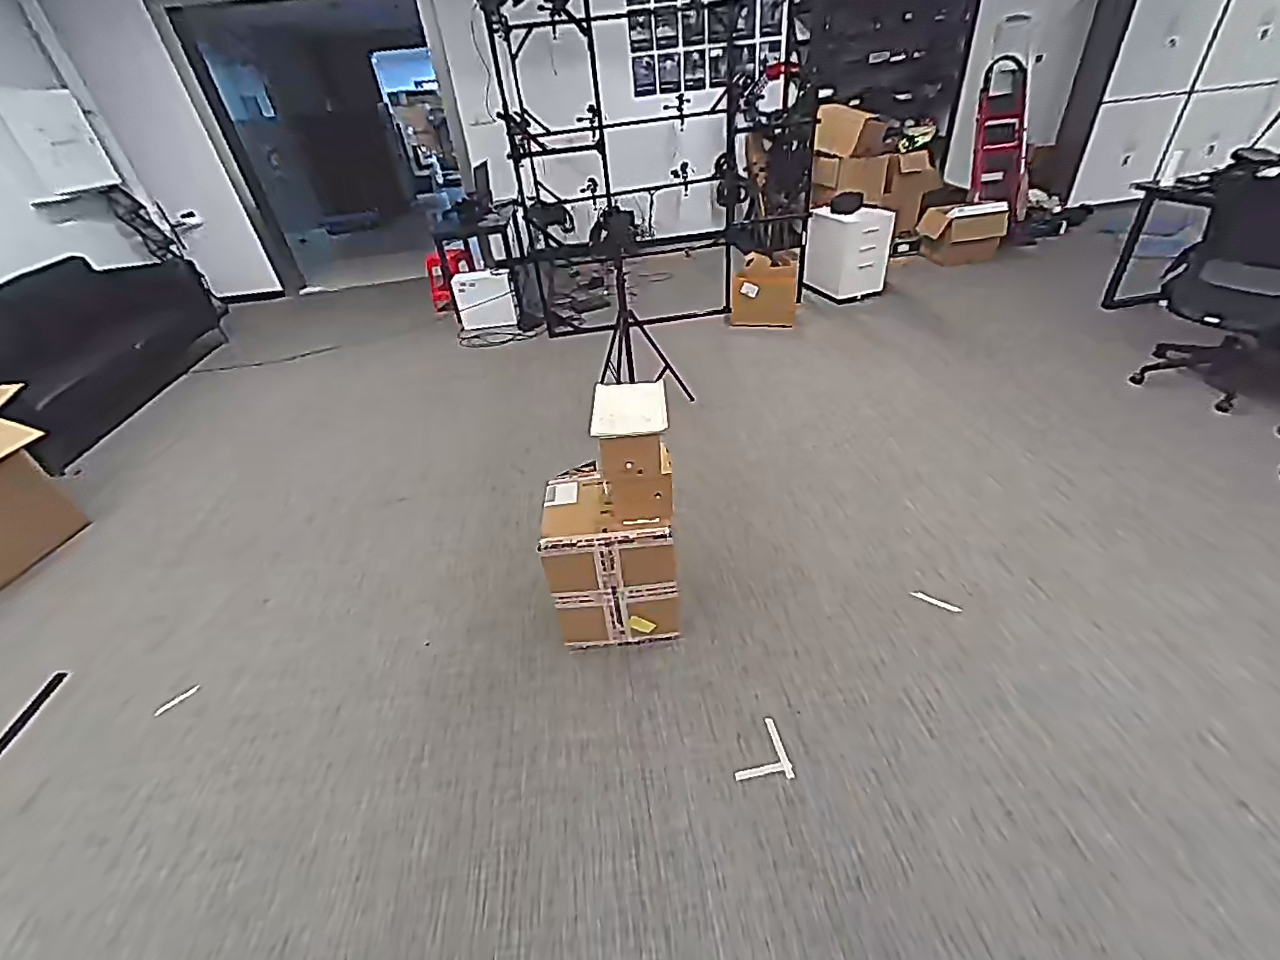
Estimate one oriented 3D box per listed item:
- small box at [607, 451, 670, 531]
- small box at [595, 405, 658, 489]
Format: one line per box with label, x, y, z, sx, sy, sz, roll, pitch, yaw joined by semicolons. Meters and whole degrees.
small box;-0.006;0.035;1.610;0.179;0.176;0.168;-6;37;-2
small box;-0.034;-0.093;1.508;0.168;0.176;0.179;-3;38;1
